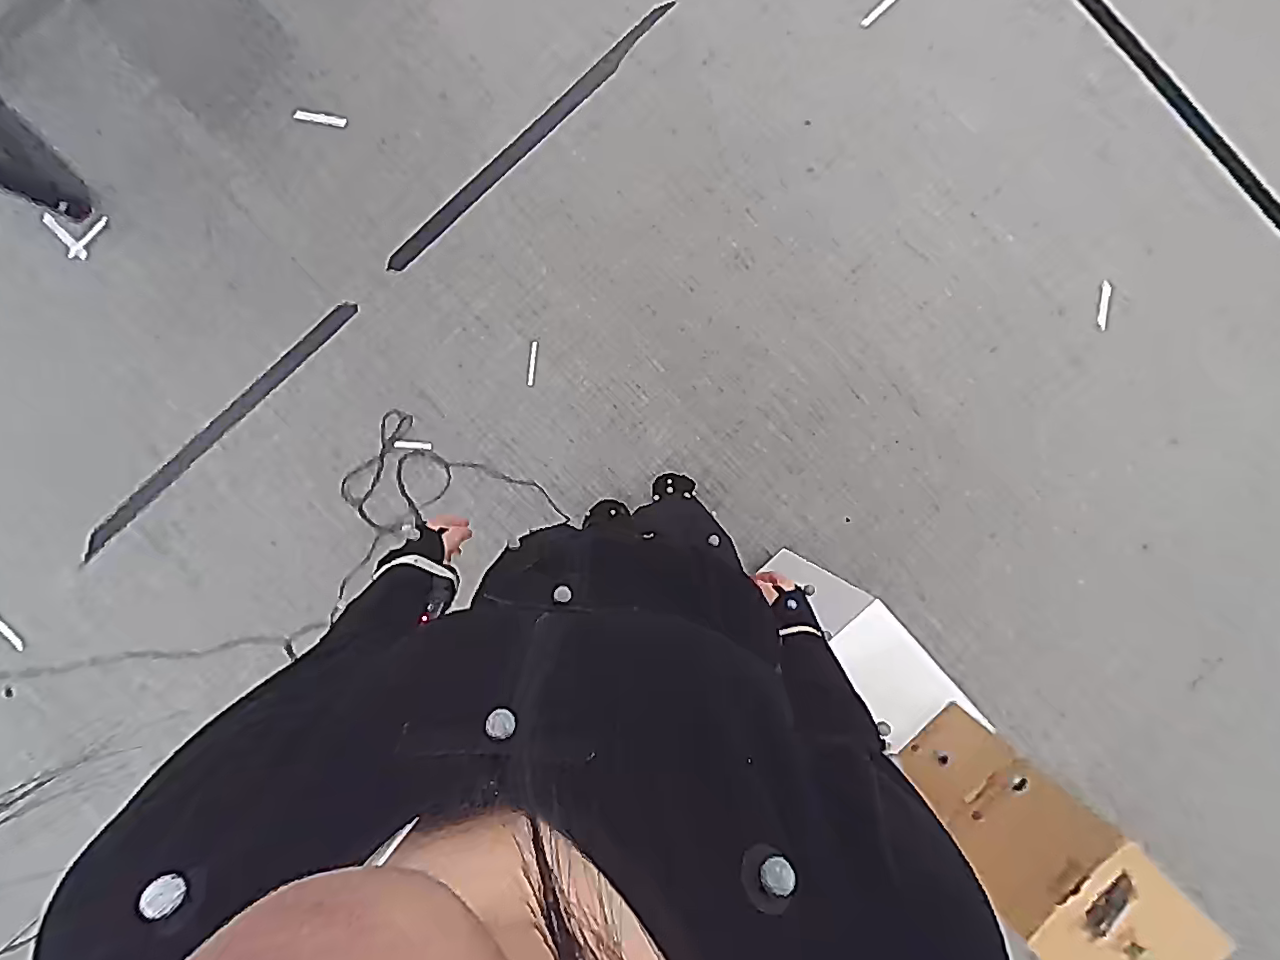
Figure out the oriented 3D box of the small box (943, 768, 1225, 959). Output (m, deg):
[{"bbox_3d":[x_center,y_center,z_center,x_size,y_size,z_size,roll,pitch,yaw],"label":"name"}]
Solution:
[{"bbox_3d":[0.529,0.500,0.676,0.168,0.176,0.179,-44,92,1],"label":"small box"}]
